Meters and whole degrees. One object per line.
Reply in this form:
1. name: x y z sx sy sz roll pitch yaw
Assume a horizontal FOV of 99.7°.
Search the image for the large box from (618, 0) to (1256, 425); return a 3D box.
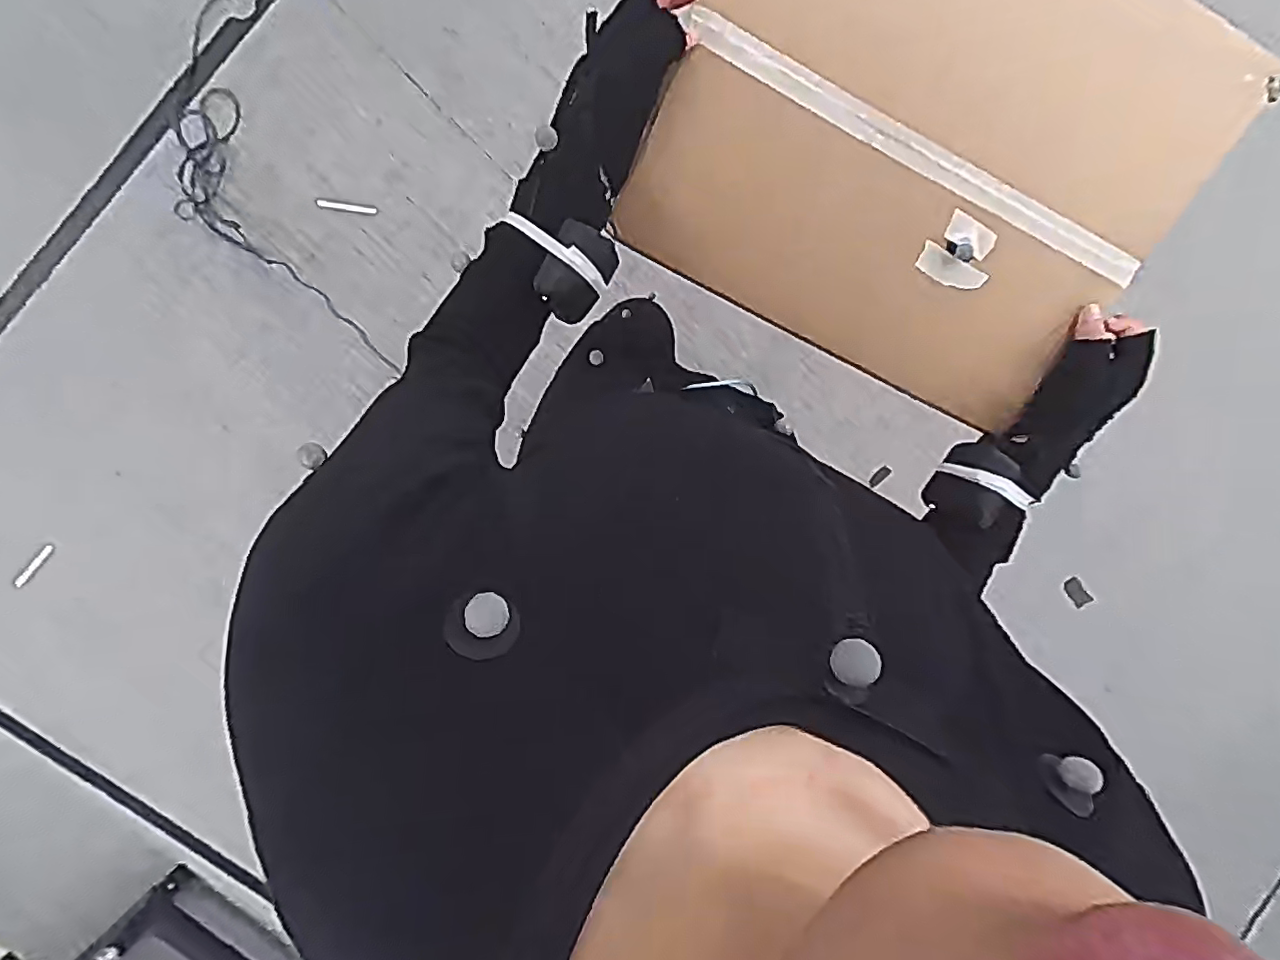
1. large box: 0.224 -0.311 0.569 0.408 0.320 0.320 25 112 -8
